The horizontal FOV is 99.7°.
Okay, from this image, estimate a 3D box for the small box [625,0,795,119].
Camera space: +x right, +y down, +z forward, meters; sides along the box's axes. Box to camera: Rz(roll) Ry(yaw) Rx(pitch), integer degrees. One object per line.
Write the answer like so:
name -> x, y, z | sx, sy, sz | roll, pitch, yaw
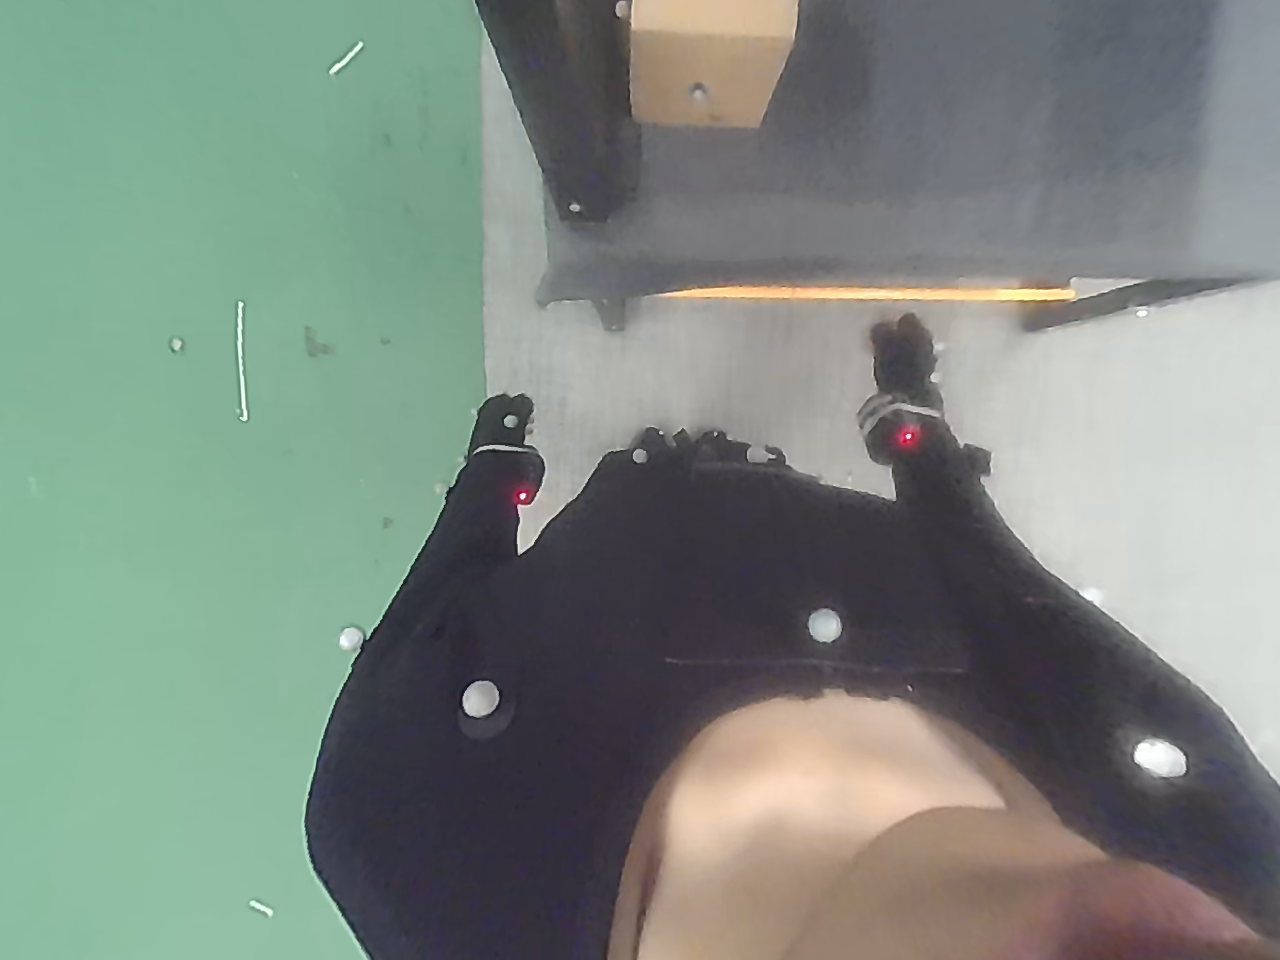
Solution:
small box -> 0.073, -0.532, 0.594 | 0.168, 0.176, 0.179 | 3, 96, -1
